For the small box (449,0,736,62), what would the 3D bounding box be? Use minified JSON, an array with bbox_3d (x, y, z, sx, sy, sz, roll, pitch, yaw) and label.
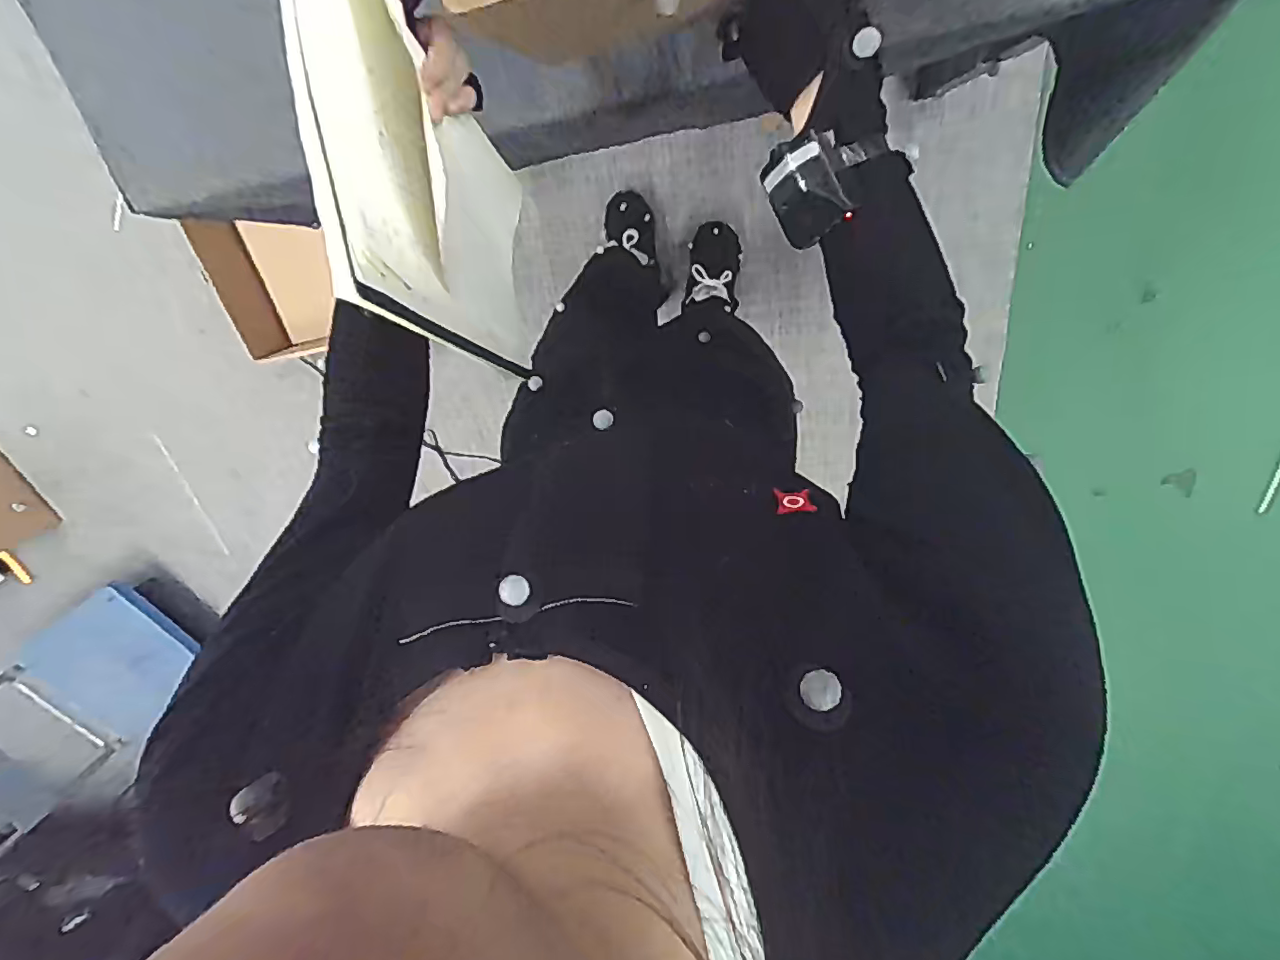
[{"bbox_3d":[-0.025,-0.392,0.335,0.179,0.176,0.168,-3,117,16],"label":"small box"}]
